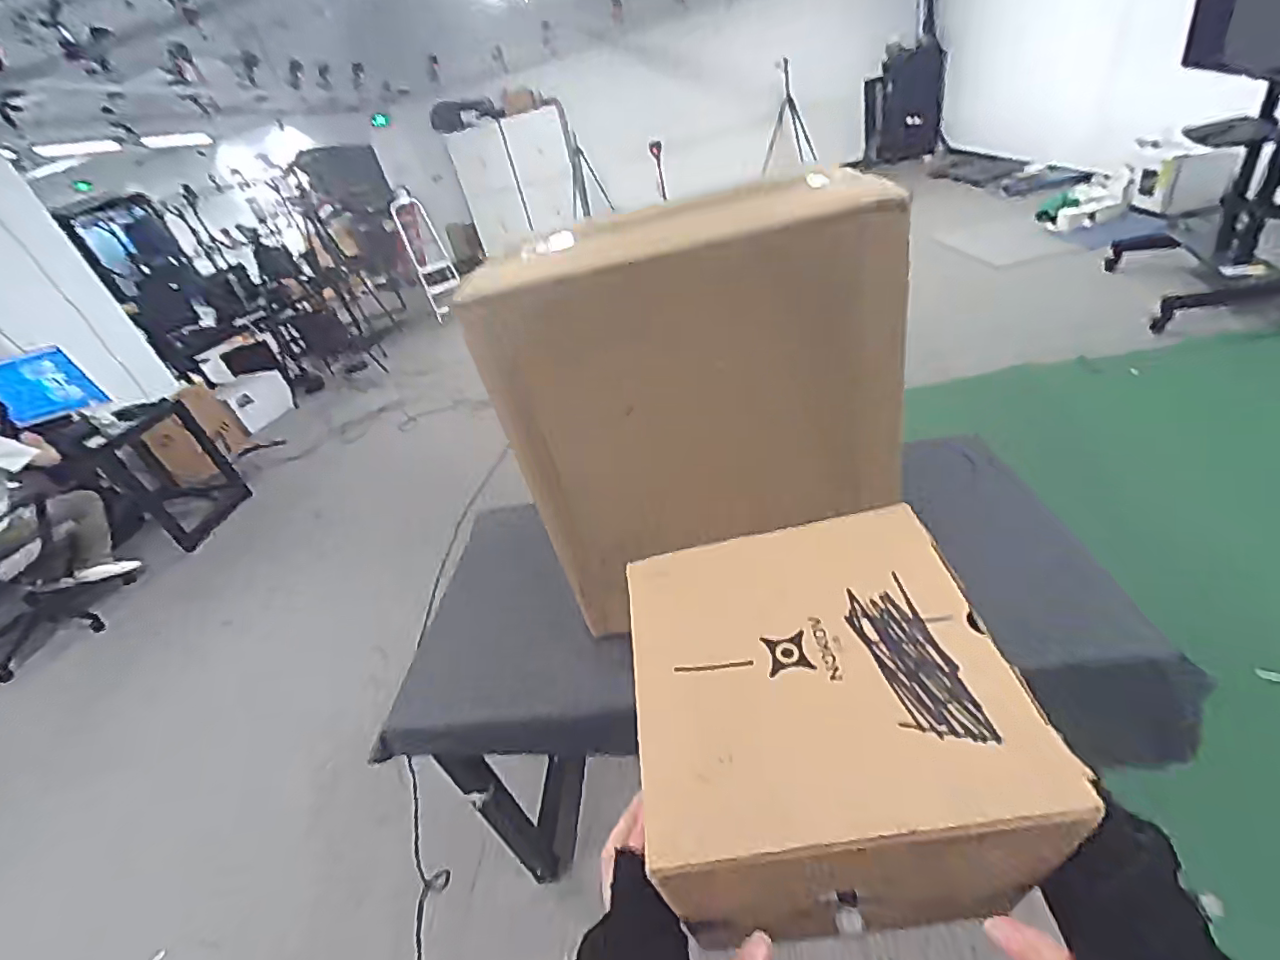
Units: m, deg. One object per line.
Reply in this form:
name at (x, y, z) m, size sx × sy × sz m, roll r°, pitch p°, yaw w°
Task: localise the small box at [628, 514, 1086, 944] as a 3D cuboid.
small box at (0.098, 0.149, 0.326) m, size 0.179 × 0.176 × 0.168 m, roll -12°, pitch 40°, yaw 1°
